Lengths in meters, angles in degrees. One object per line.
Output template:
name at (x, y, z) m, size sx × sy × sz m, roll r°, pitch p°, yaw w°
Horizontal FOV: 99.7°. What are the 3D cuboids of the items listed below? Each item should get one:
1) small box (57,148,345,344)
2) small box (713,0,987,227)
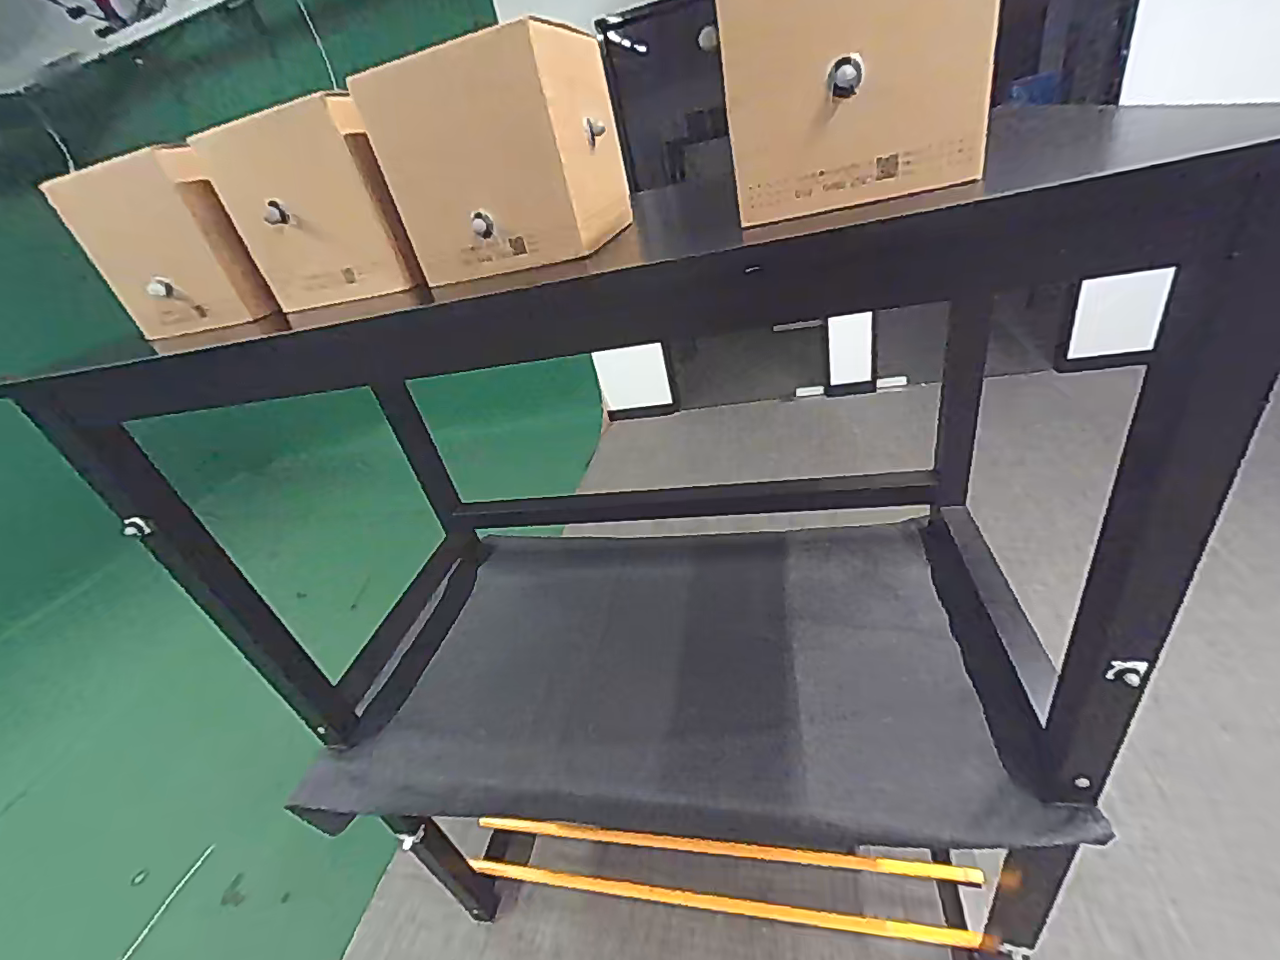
small box at (-0.489, -0.276, 0.641) m, size 0.168 × 0.176 × 0.179 m, roll -3°, pitch 34°, yaw 18°
small box at (0.156, -0.310, 0.424) m, size 0.168 × 0.176 × 0.179 m, roll -4°, pitch 33°, yaw 17°
